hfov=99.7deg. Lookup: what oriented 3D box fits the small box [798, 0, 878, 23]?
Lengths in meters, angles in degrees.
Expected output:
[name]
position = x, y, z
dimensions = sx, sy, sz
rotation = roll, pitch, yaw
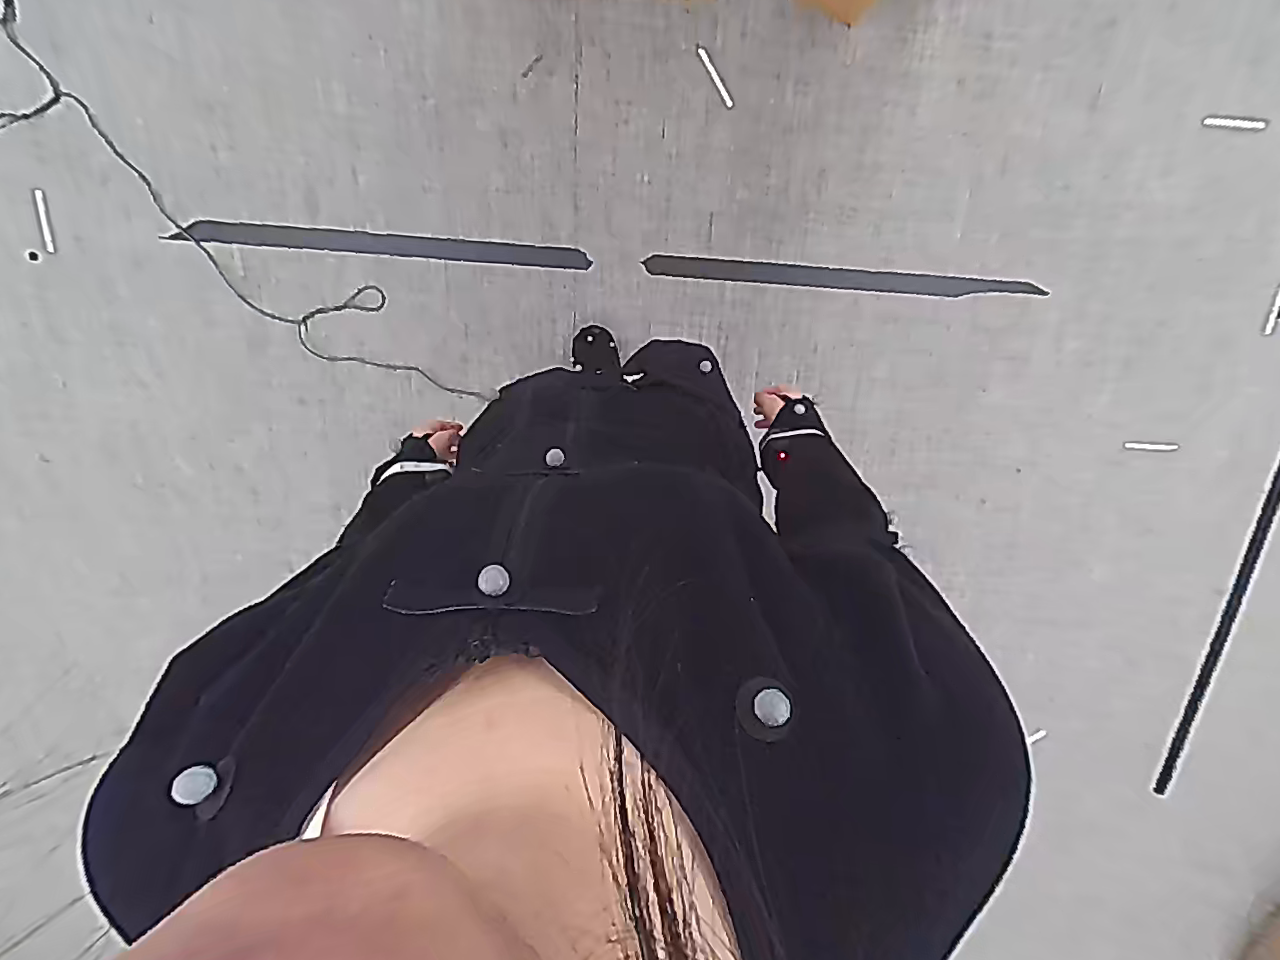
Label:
[small box]
position = 0.446, -1.107, 1.126
dimensions = 0.179, 0.176, 0.168
rotation = 19, 105, -6
